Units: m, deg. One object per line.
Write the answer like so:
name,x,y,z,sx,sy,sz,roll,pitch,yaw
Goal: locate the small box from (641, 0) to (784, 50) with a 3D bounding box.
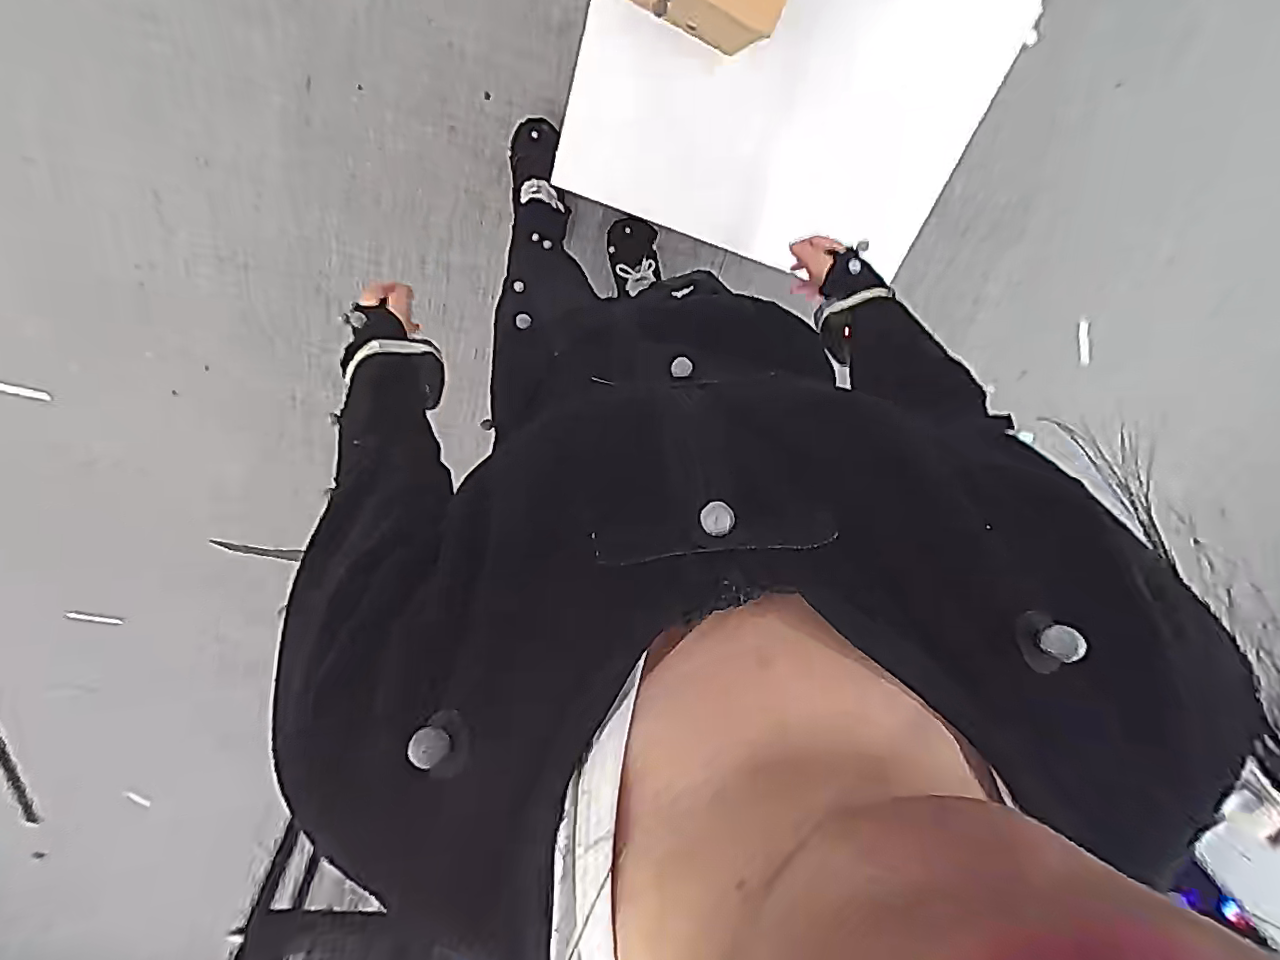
small box,0.077,-0.560,0.524,0.168,0.176,0.179,17,118,-16
